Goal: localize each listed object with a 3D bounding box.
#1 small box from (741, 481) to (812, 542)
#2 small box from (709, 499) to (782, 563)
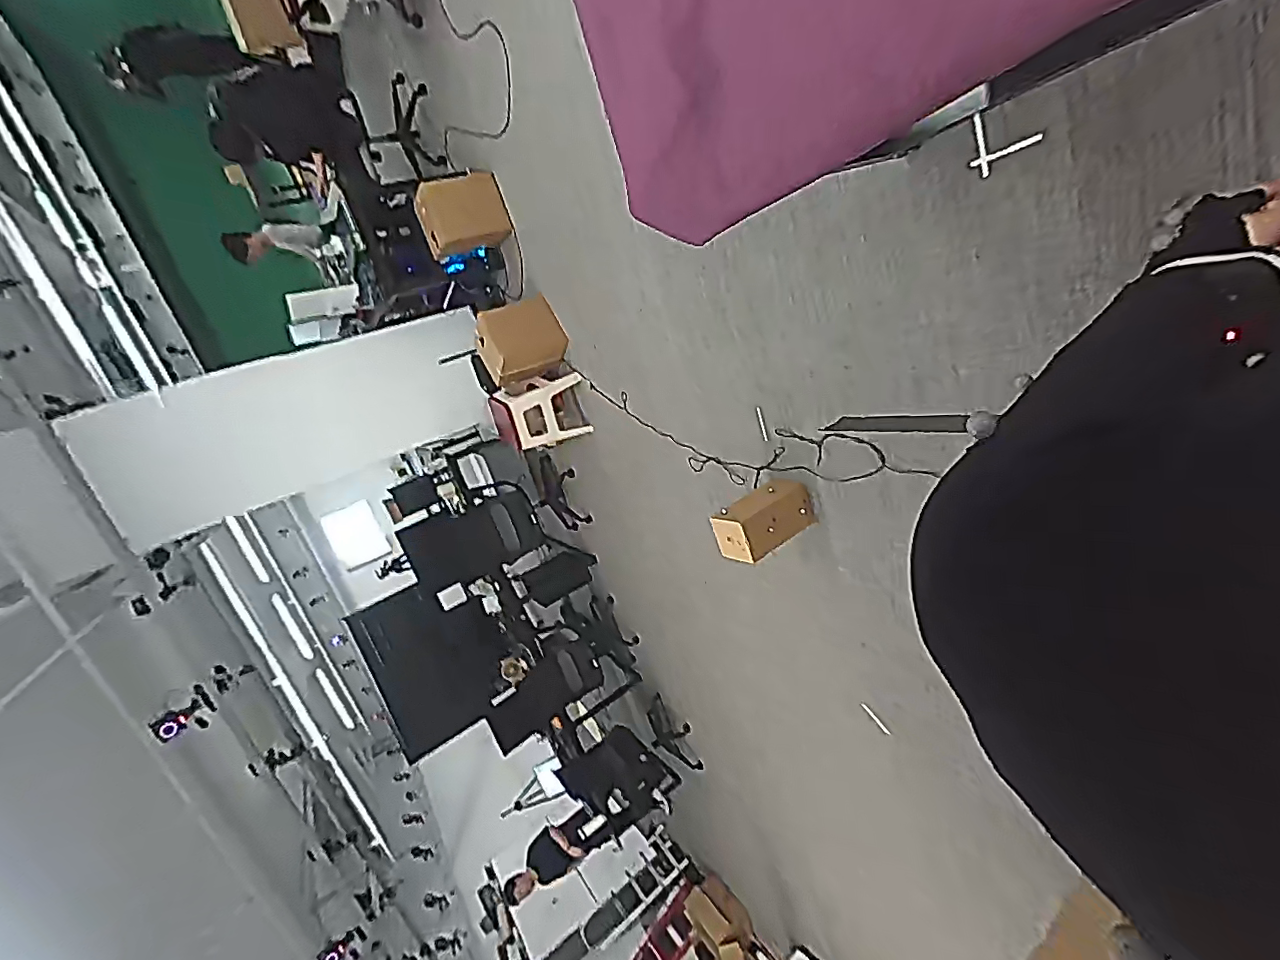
[{"bbox_3d":[0.516,0.113,2.040,0.179,0.176,0.168,7,120,58],"label":"small box"},{"bbox_3d":[0.385,0.179,1.965,0.179,0.176,0.168,5,119,59],"label":"small box"}]
